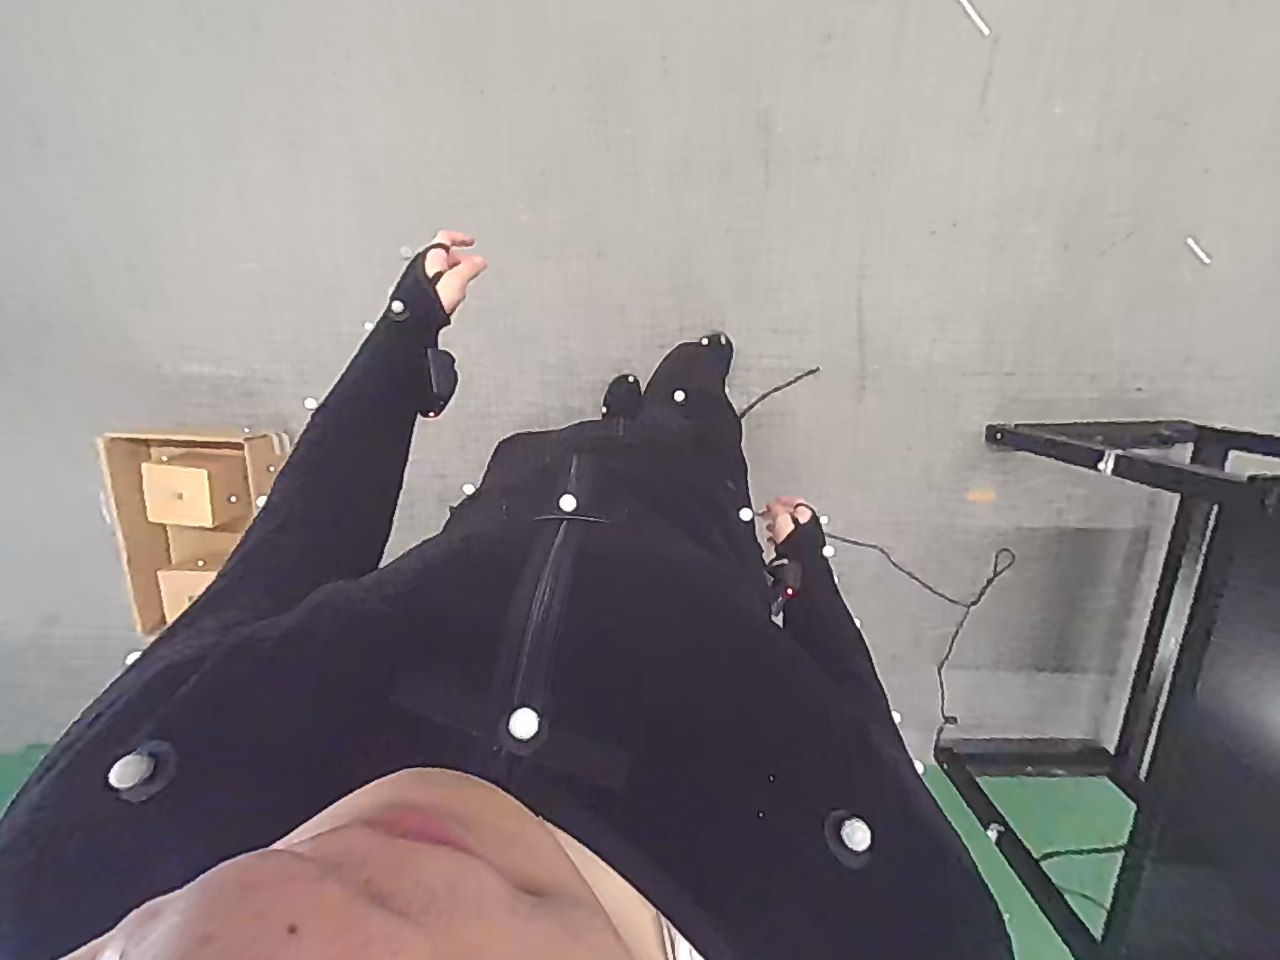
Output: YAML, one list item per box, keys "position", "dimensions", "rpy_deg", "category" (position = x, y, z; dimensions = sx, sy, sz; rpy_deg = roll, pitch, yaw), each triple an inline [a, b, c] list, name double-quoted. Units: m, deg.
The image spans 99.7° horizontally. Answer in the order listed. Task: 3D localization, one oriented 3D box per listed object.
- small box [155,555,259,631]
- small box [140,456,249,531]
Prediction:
- position: [-1.252, 0.325, 1.581]
  dimensions: [0.179, 0.176, 0.168]
  rpy_deg: [2, 102, 1]
  category: "small box"
- position: [-1.233, 0.033, 1.514]
  dimensions: [0.179, 0.176, 0.168]
  rpy_deg: [6, 104, -1]
  category: "small box"
